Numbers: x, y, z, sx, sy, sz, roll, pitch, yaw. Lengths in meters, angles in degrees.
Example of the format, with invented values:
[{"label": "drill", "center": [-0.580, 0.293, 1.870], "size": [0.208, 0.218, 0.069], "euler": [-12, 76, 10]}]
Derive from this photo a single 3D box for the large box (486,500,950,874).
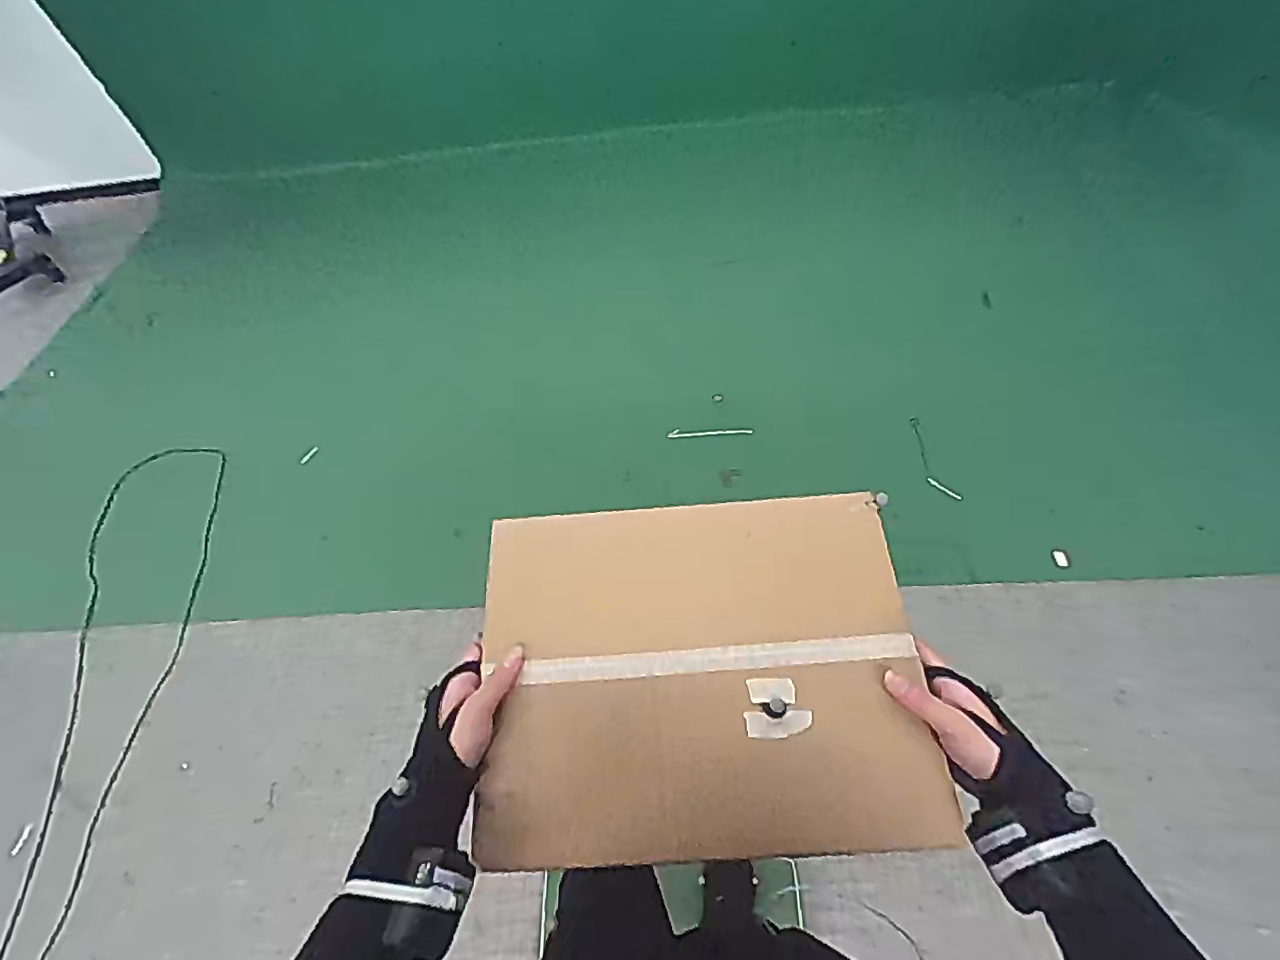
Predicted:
[{"label": "large box", "center": [0.060, 0.242, 0.653], "size": [0.408, 0.320, 0.320], "euler": [-5, 65, 1]}]
